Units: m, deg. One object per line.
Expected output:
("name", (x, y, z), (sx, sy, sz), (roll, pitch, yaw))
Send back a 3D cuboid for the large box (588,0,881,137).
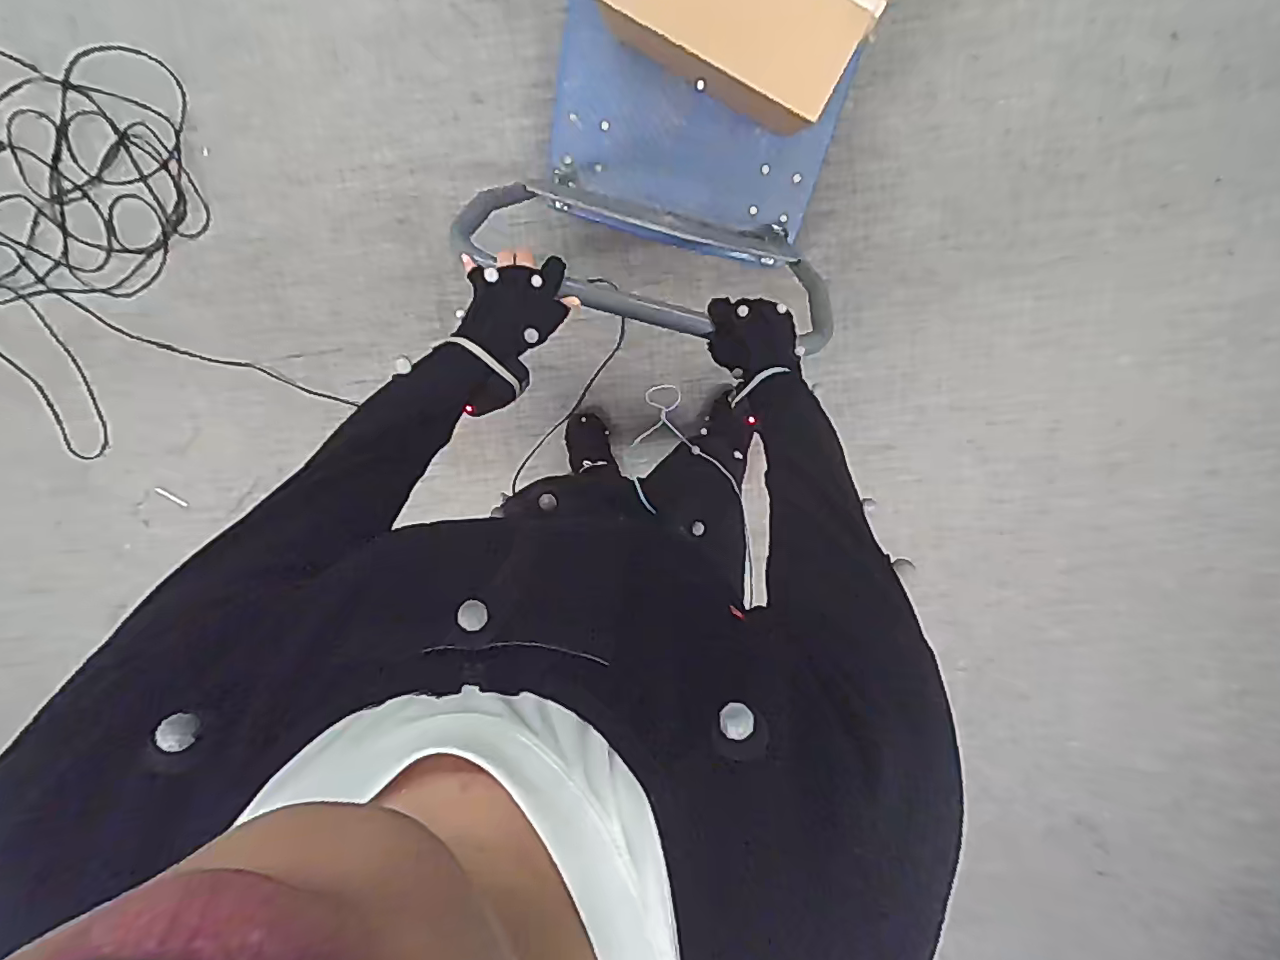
("large box", (0.179, -0.830, 0.897), (0.408, 0.320, 0.320), (25, 118, -7))
